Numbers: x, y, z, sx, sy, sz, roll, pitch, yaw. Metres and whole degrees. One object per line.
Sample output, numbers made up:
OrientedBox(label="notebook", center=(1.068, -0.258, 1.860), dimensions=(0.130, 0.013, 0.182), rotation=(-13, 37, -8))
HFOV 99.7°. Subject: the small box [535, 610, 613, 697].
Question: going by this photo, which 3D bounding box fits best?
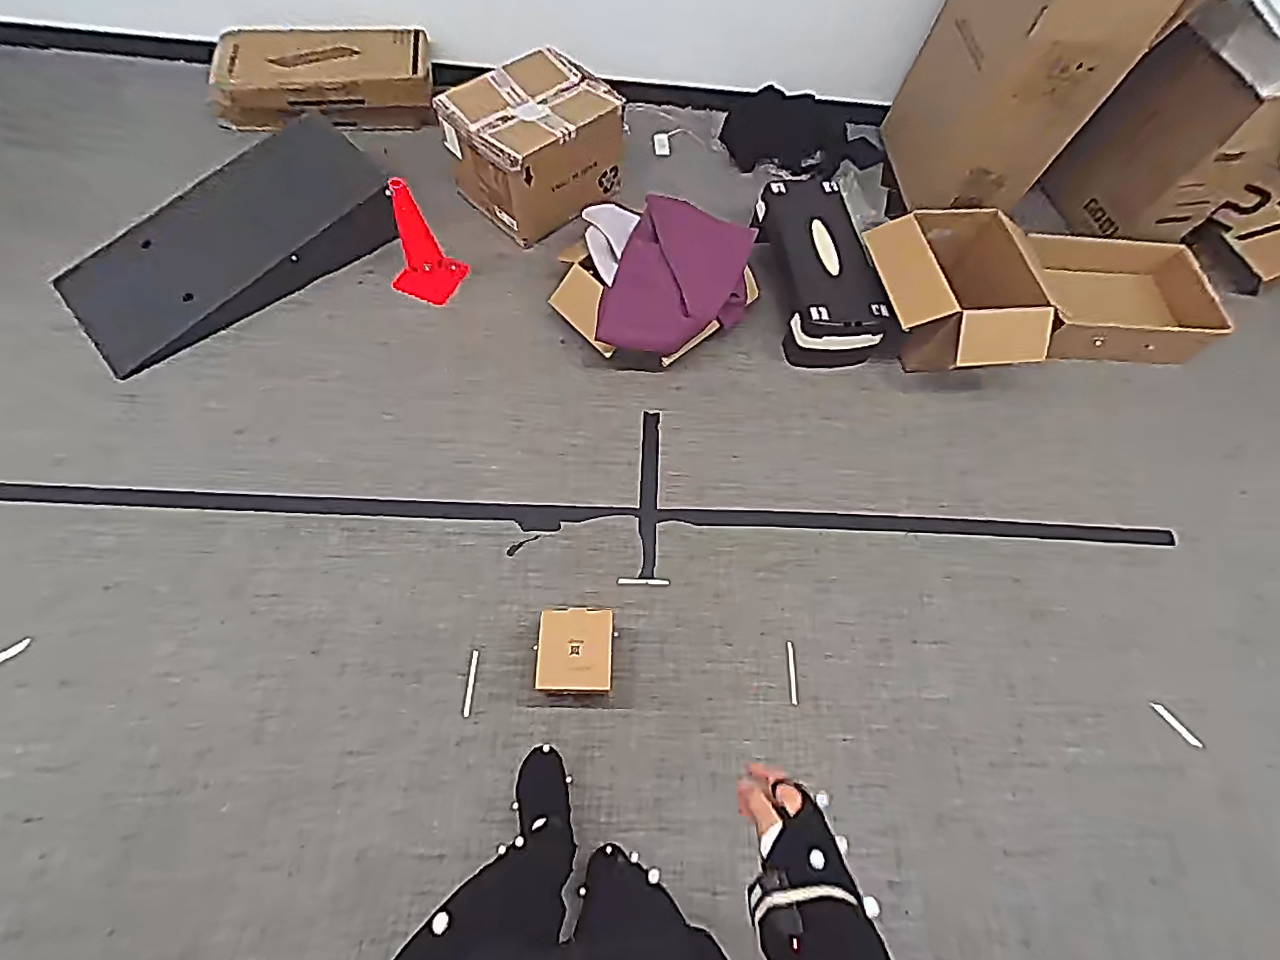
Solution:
OrientedBox(label="small box", center=(-0.150, 0.413, 1.277), dimensions=(0.168, 0.176, 0.179), rotation=(1, 66, -3))
